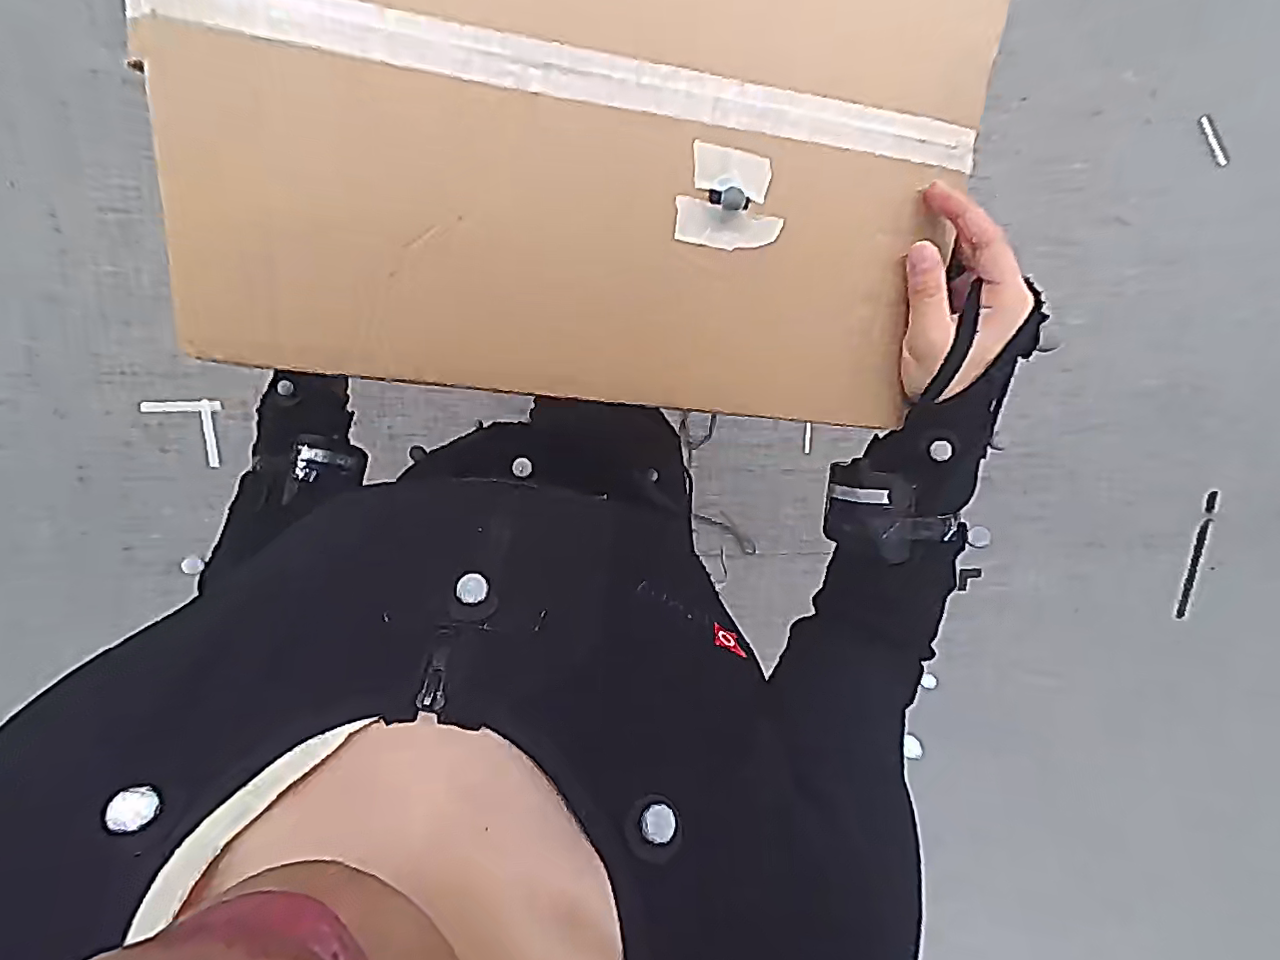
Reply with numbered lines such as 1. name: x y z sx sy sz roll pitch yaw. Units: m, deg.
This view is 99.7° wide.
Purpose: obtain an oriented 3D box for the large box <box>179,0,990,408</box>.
1. large box: -0.038 -0.242 0.419 0.408 0.320 0.320 4 106 -11
